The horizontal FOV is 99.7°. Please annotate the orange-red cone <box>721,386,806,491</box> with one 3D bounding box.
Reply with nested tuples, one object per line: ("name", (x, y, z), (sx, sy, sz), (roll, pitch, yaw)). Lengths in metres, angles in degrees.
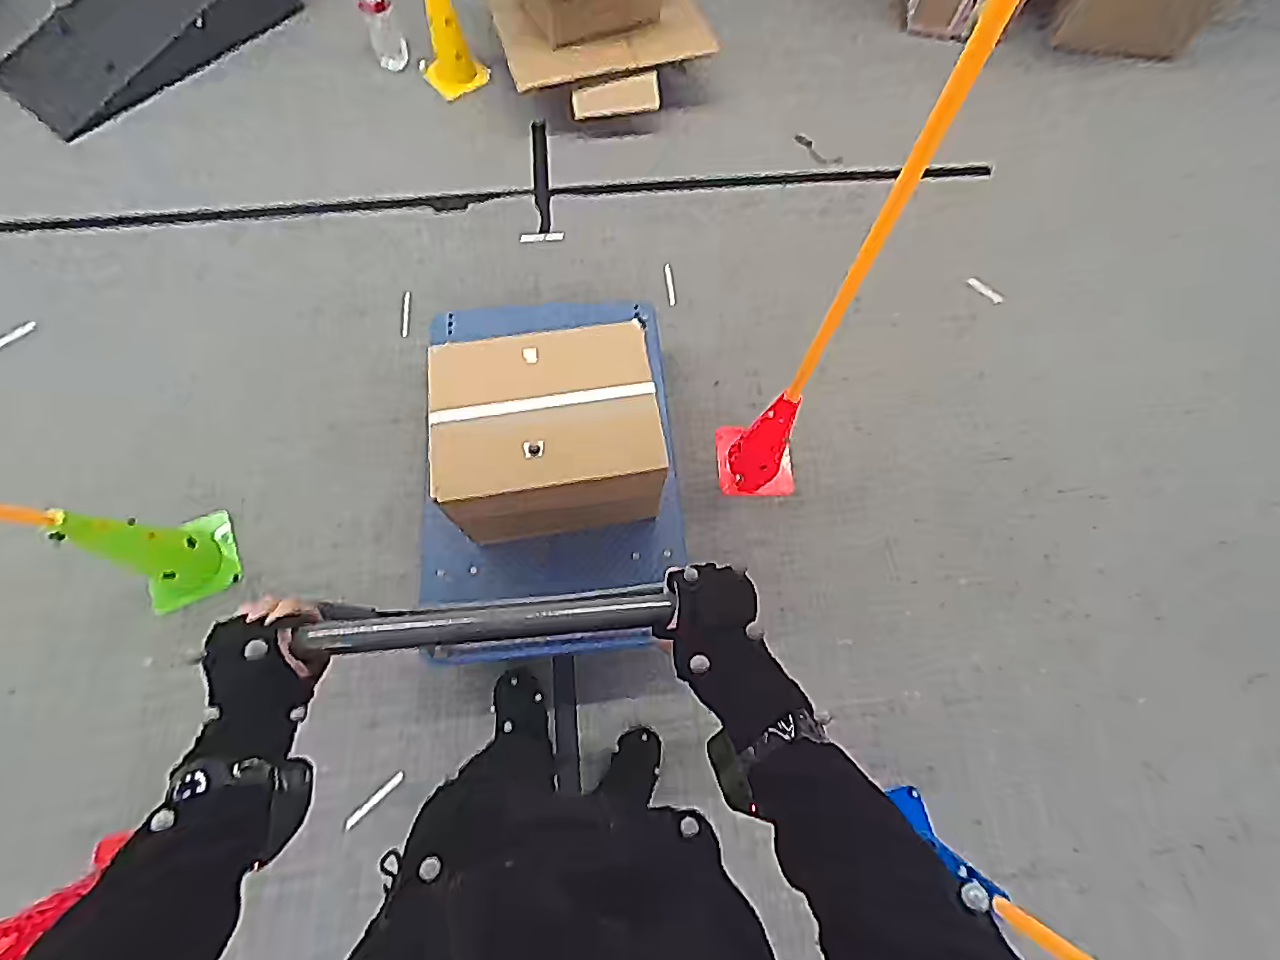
("orange-red cone", (0.326, -0.123, 1.304), (0.199, 0.360, 0.198), (1, 70, -3))
